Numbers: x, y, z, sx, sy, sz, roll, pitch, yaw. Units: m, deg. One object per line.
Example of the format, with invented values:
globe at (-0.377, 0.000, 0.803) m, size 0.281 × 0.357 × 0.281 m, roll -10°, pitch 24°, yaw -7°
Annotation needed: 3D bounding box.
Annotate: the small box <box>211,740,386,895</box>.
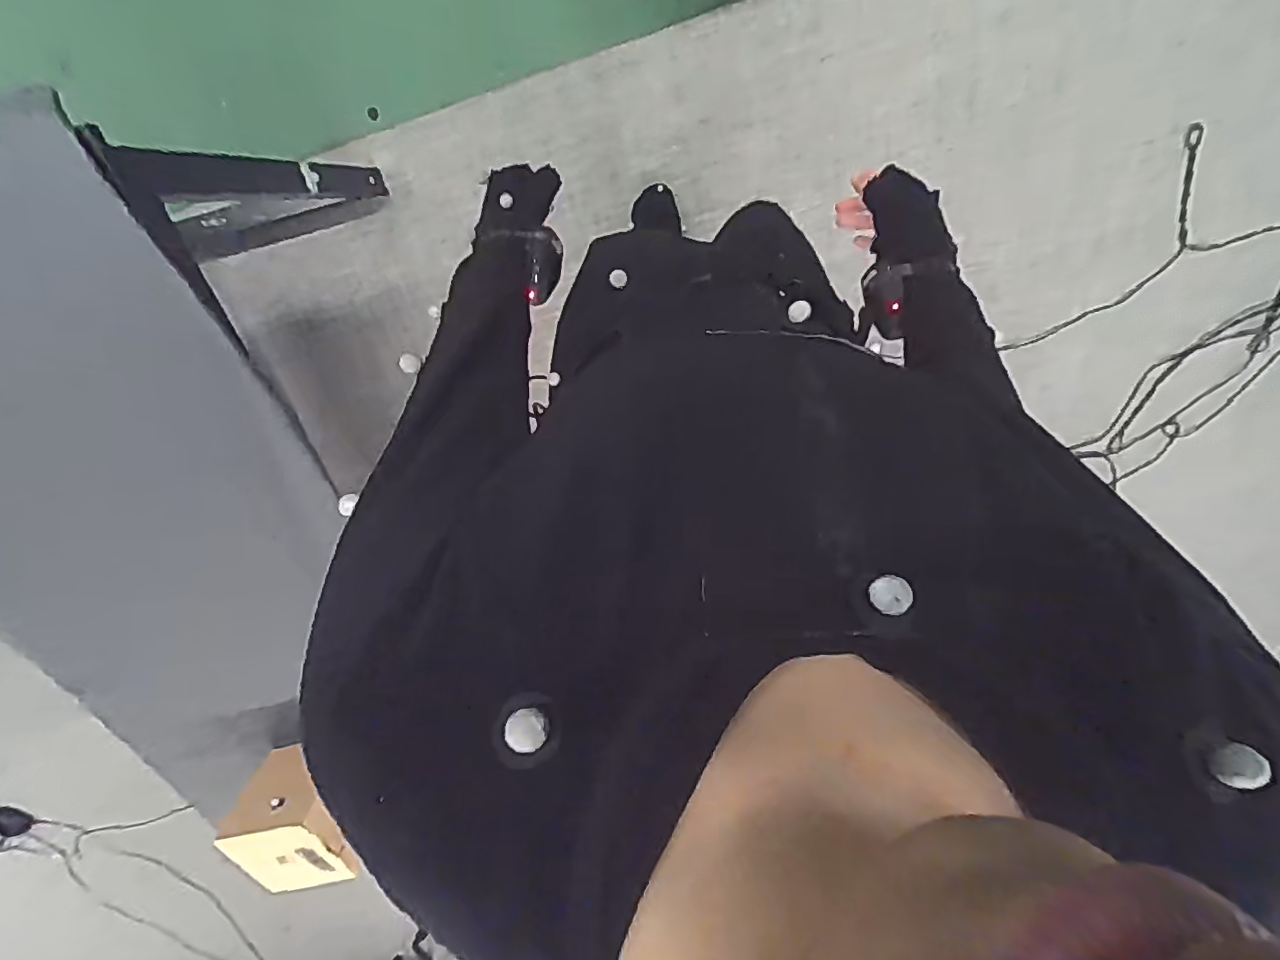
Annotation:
small box at (-0.584, 0.592, 0.960) m, size 0.179 × 0.176 × 0.168 m, roll -16°, pitch 116°, yaw 9°
